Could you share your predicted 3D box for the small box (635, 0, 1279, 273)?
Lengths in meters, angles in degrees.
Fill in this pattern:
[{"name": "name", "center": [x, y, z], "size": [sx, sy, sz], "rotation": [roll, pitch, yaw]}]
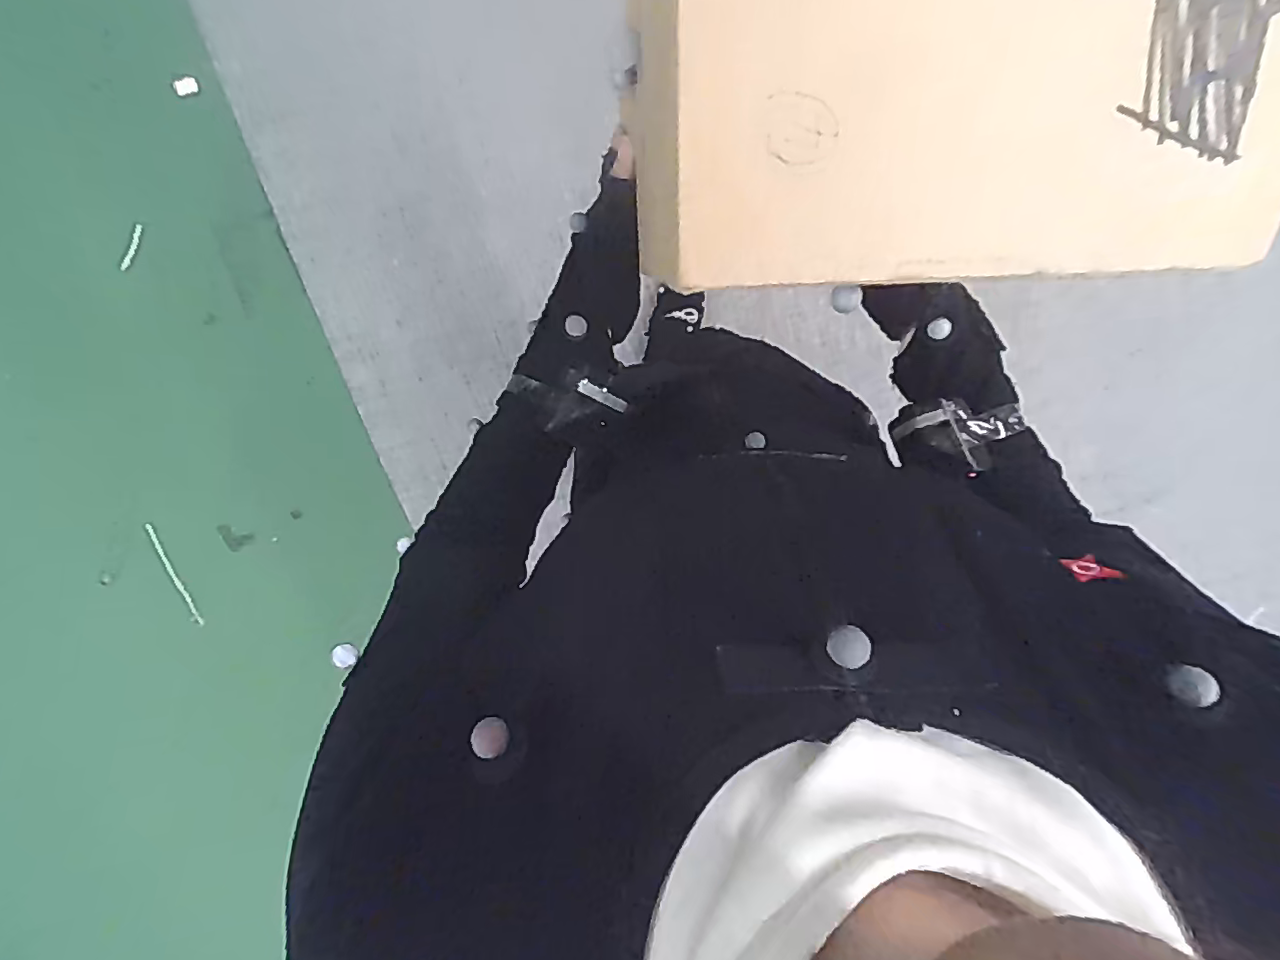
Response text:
[{"name": "small box", "center": [0.094, -0.176, 0.202], "size": [0.179, 0.176, 0.168], "rotation": [-7, 113, -2]}]
